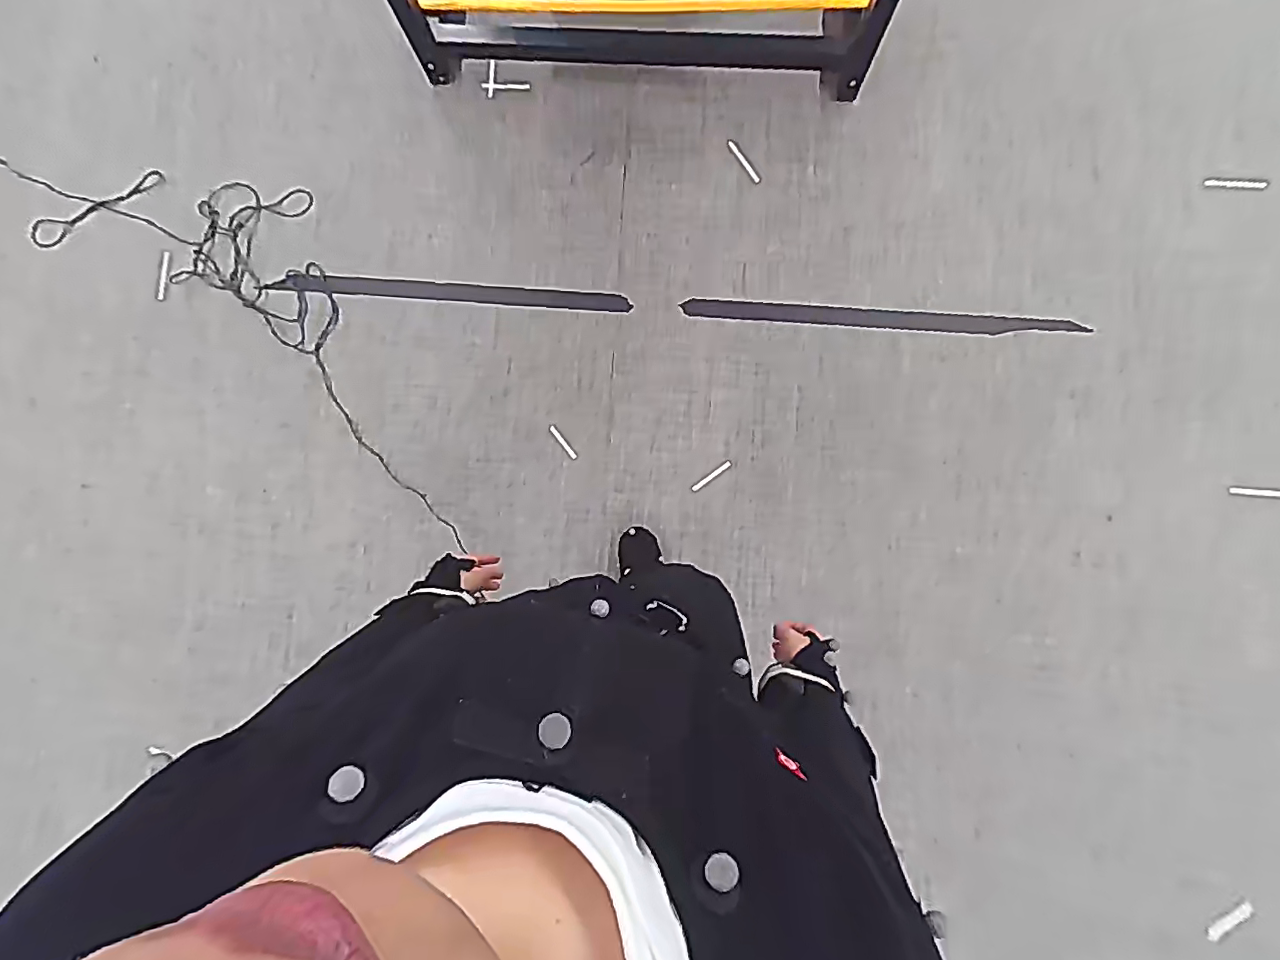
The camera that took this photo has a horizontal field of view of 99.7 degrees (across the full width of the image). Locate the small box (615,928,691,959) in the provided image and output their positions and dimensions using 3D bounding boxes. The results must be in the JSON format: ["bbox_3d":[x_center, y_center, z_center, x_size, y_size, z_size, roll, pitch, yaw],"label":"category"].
[{"bbox_3d":[0.024,1.169,1.232,0.179,0.176,0.168,4,85,1],"label":"small box"}]
